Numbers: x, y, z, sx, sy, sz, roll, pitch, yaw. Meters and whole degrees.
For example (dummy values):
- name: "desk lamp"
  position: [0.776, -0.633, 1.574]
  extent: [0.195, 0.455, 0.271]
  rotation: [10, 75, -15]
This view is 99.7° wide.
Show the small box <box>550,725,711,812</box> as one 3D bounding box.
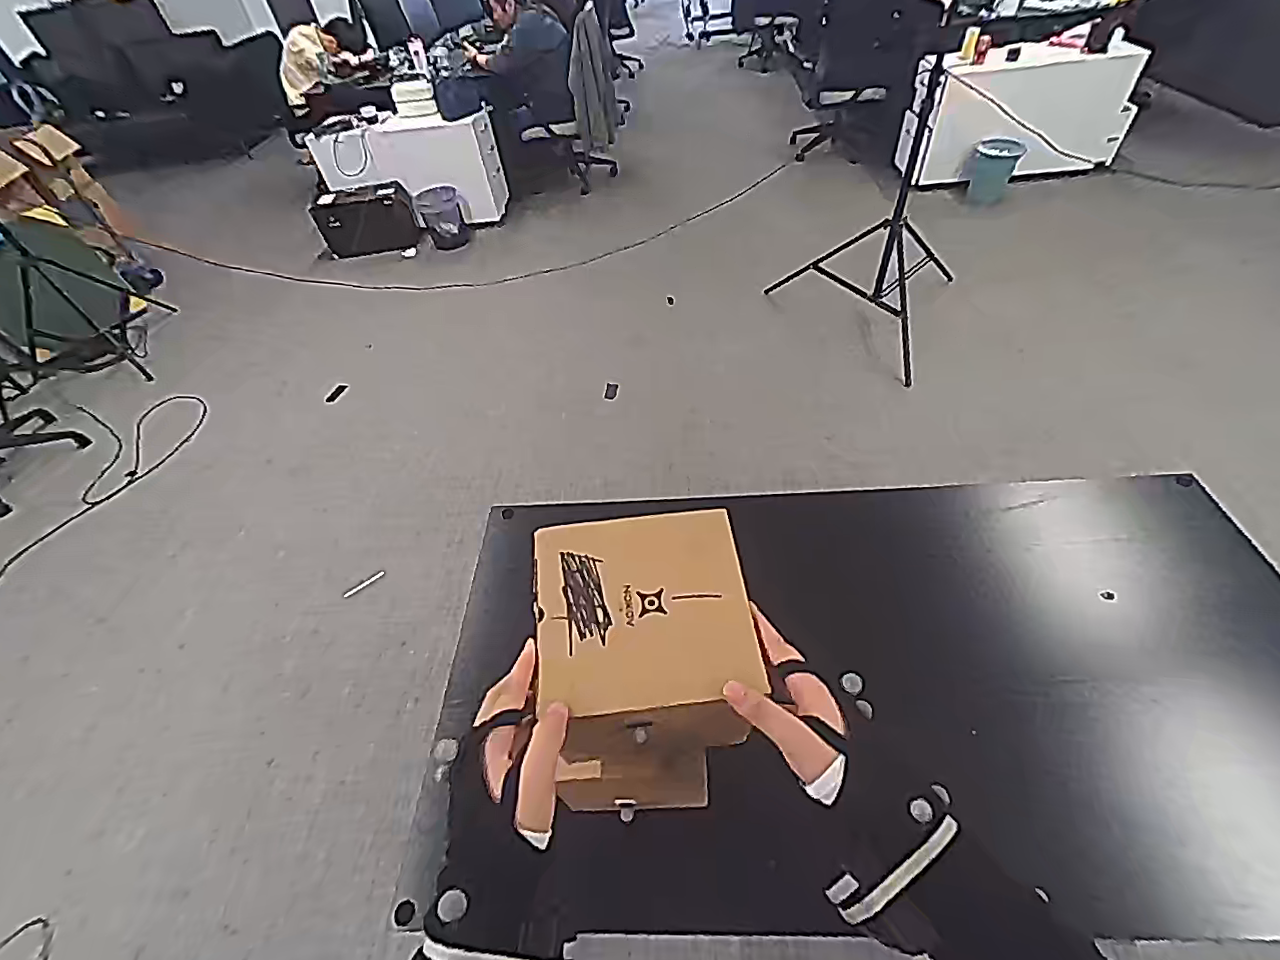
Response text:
- name: "small box"
  position: [-0.005, 0.284, 0.658]
  extent: [0.168, 0.176, 0.179]
  rotation: [-6, 49, 3]

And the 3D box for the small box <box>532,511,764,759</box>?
- name: "small box"
  position: [0.003, 0.150, 0.508]
  extent: [0.179, 0.176, 0.168]
  rotation: [-6, 53, -2]
